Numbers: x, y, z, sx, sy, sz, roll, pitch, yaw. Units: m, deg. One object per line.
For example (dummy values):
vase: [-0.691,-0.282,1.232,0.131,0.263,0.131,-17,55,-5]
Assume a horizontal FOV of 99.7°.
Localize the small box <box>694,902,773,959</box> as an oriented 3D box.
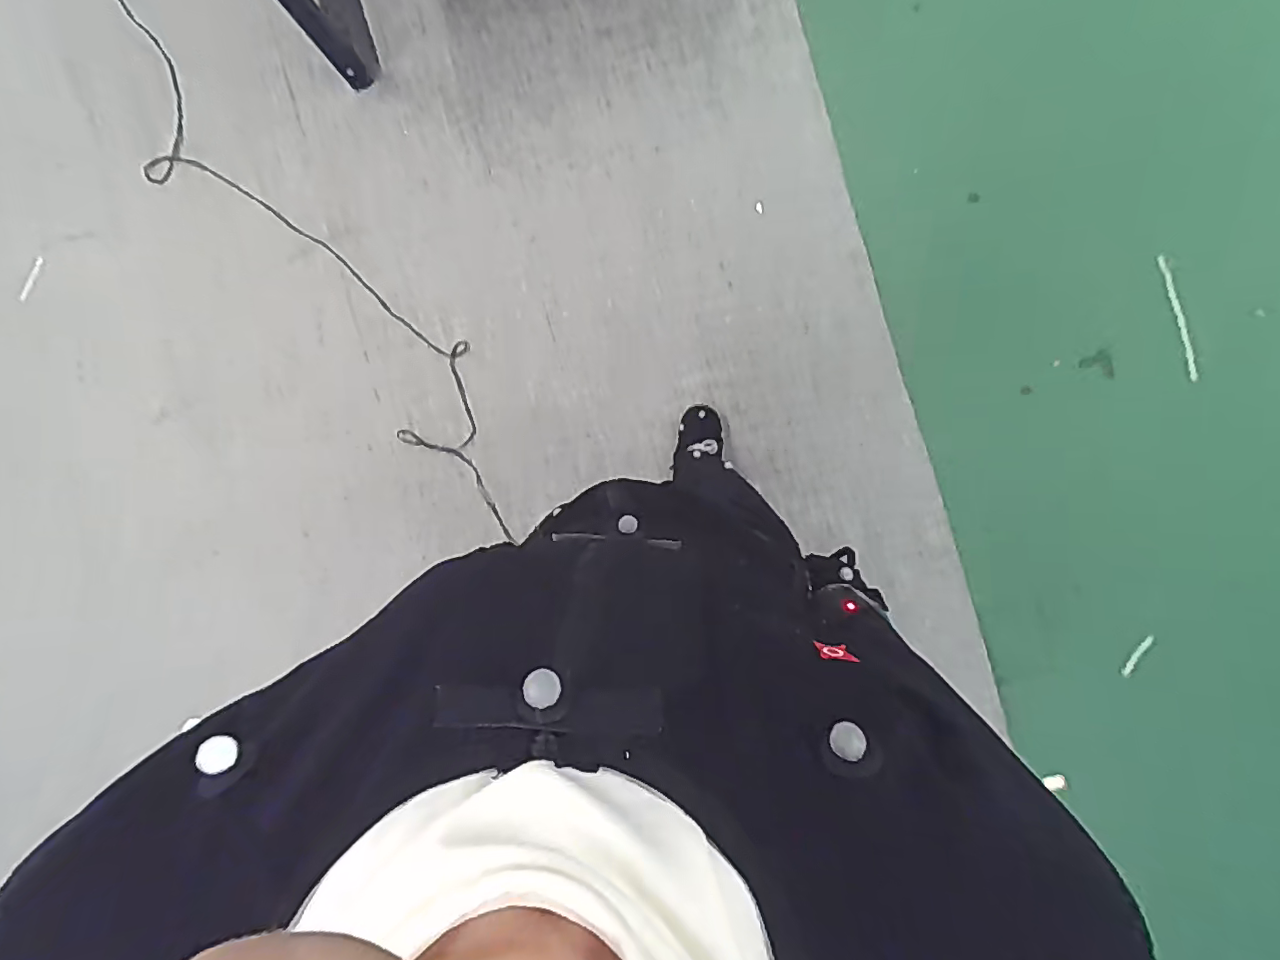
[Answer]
small box: [0.230,1.166,1.303,0.168,0.176,0.179,-18,89,5]
